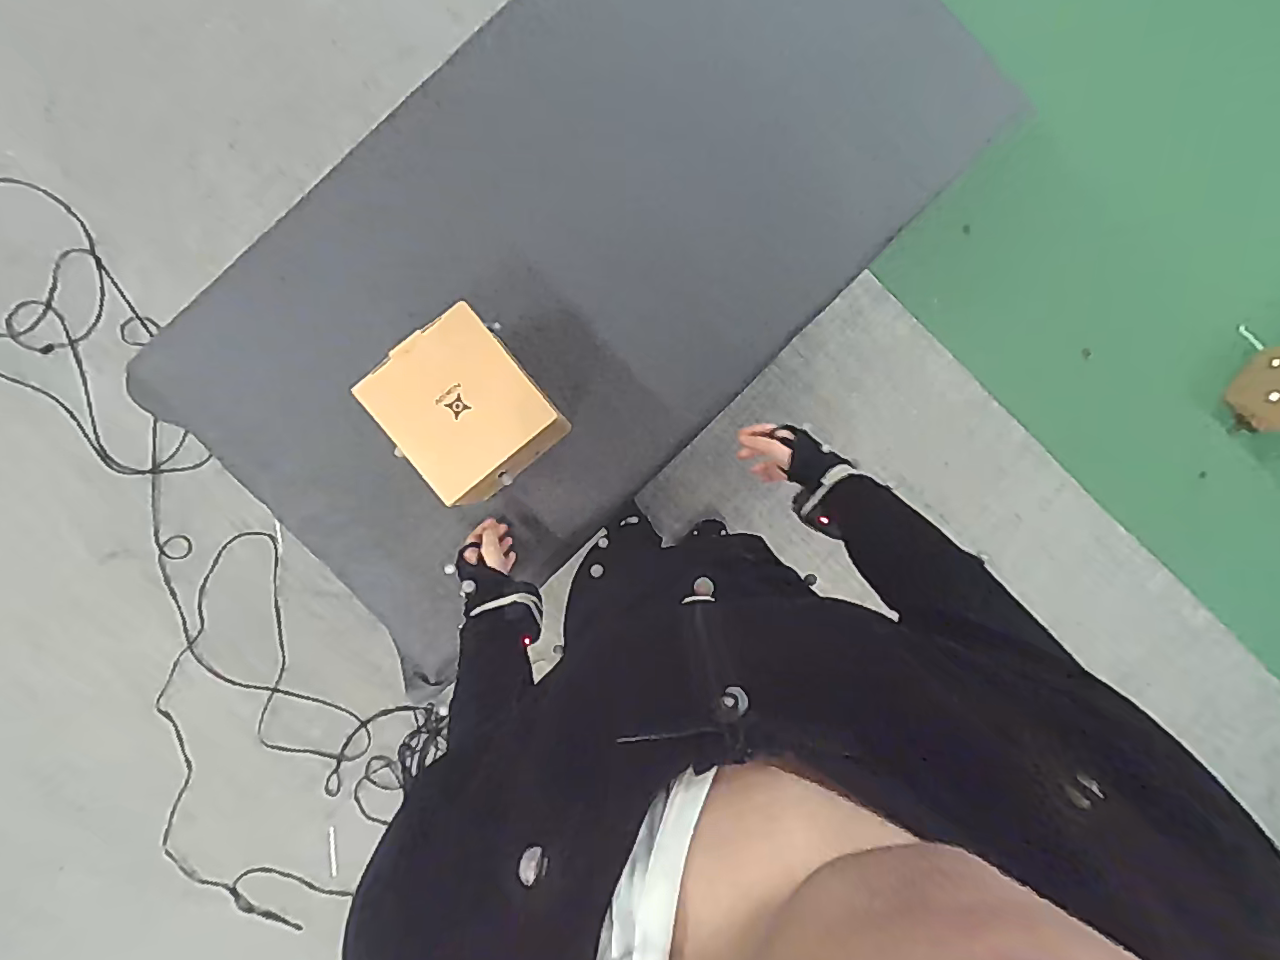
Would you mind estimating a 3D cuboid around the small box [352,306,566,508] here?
[{"bbox_3d":[-0.214,-0.085,0.697,0.168,0.176,0.179,-40,90,-1],"label":"small box"}]
